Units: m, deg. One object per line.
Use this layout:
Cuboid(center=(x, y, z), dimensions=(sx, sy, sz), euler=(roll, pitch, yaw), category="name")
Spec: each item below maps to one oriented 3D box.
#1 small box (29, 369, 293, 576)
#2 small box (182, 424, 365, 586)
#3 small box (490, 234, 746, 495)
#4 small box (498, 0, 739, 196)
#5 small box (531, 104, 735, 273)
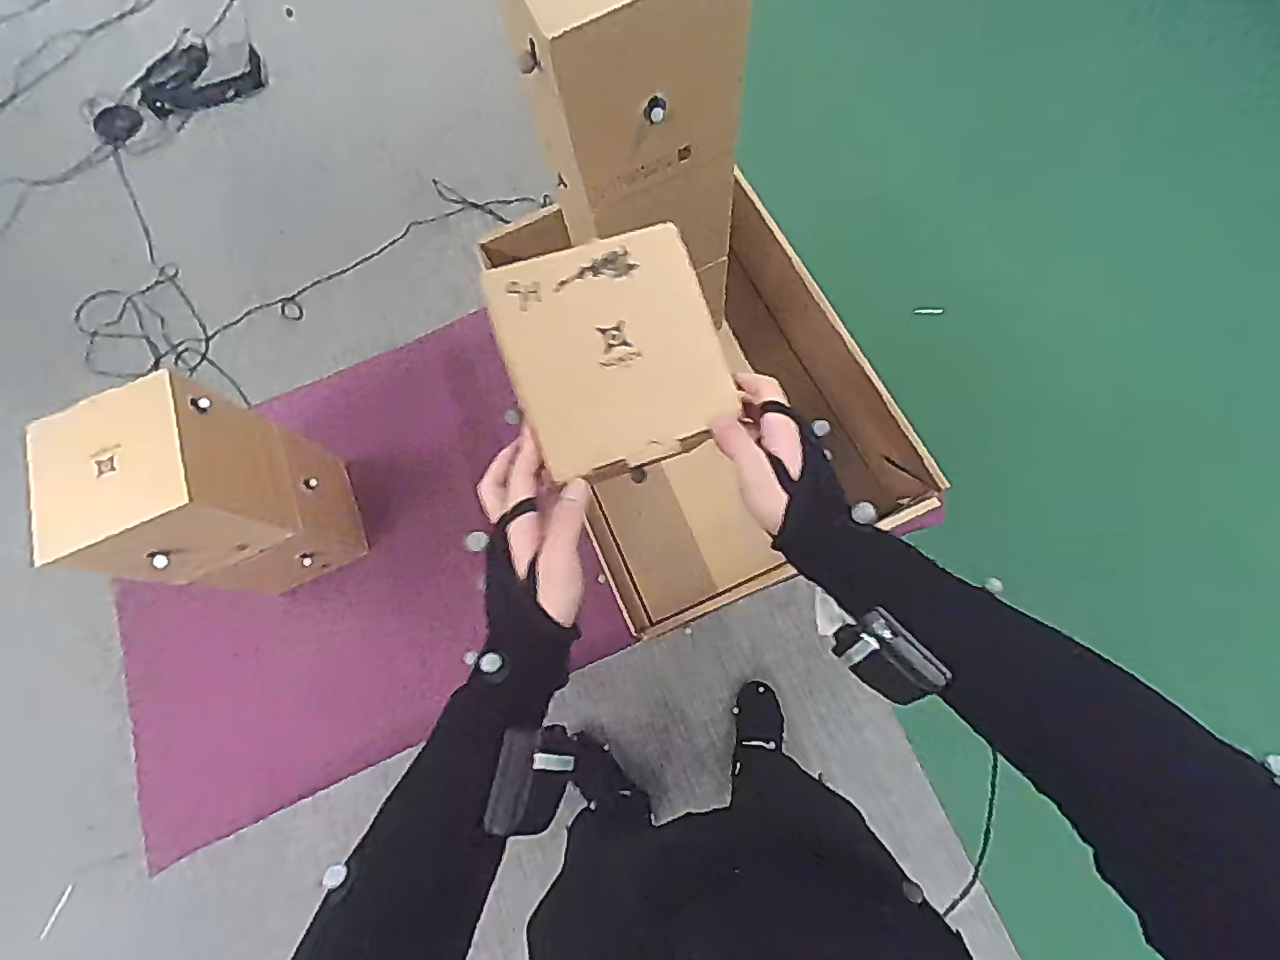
Cuboid(center=(-0.557, 0.005, 0.649), dimensions=(0.168, 0.176, 0.179), euler=(-24, 71, -3), category="small box")
Cuboid(center=(-0.542, 0.049, 0.804), dimensions=(0.168, 0.176, 0.179), euler=(-23, 72, -3), category="small box")
Cuboid(center=(-0.026, -0.091, 0.509), dimensions=(0.168, 0.176, 0.179), euler=(-19, 89, -11), category="small box")
Cuboid(center=(-0.019, -0.390, 0.482), dimensions=(0.168, 0.176, 0.179), euler=(-25, 73, -1), category="small box")
Cuboid(center=(-0.004, -0.347, 0.641), dimensions=(0.168, 0.176, 0.179), euler=(-26, 74, -1), category="small box")
